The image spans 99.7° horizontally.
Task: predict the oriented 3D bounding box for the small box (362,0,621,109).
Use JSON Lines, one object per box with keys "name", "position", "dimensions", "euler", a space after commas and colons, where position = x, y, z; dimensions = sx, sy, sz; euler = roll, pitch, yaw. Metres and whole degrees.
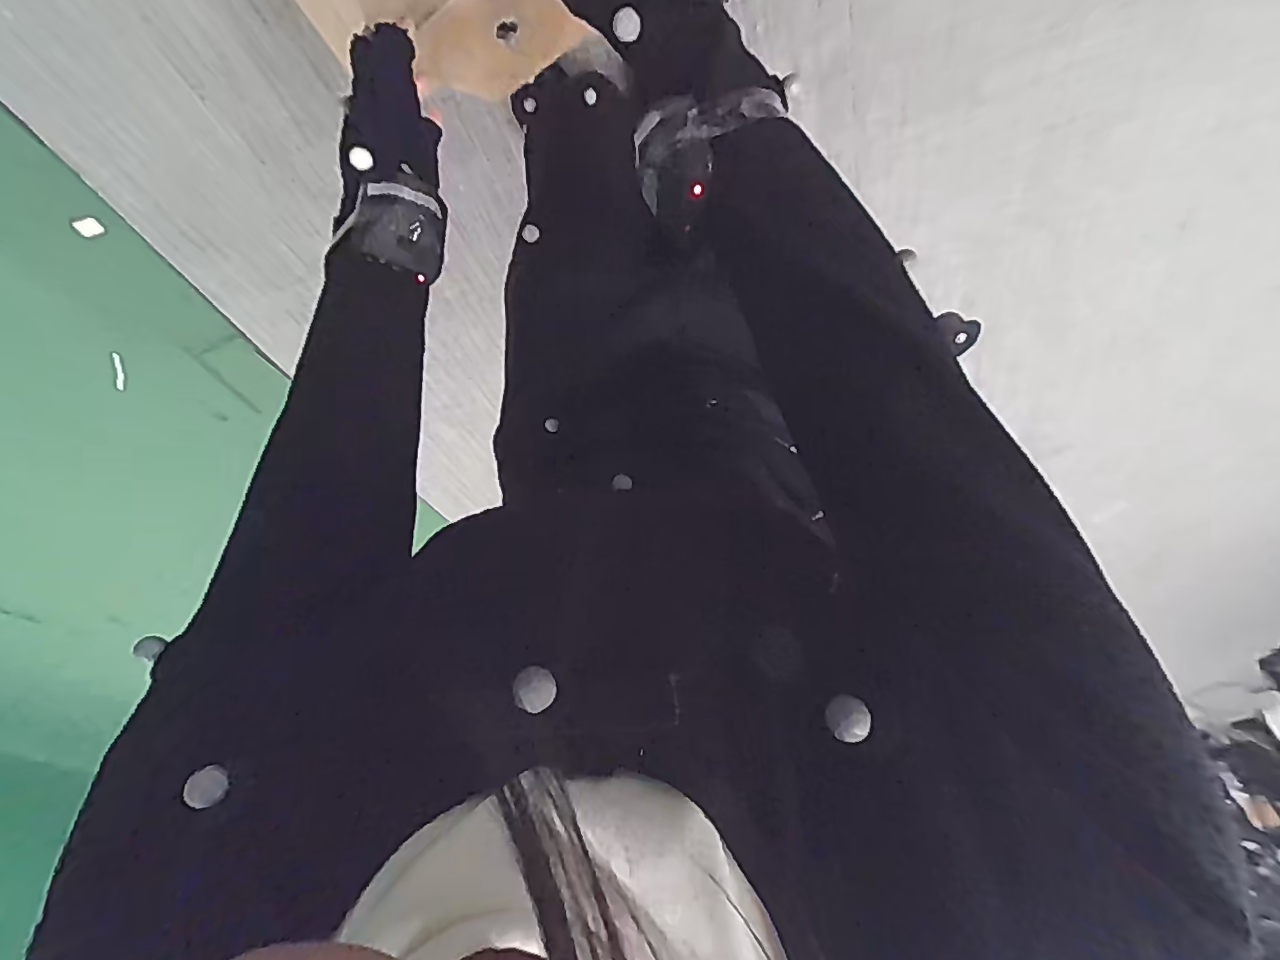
{"name": "small box", "position": [-0.132, -0.460, 0.456], "dimensions": [0.179, 0.176, 0.168], "euler": [-18, 103, 27]}
